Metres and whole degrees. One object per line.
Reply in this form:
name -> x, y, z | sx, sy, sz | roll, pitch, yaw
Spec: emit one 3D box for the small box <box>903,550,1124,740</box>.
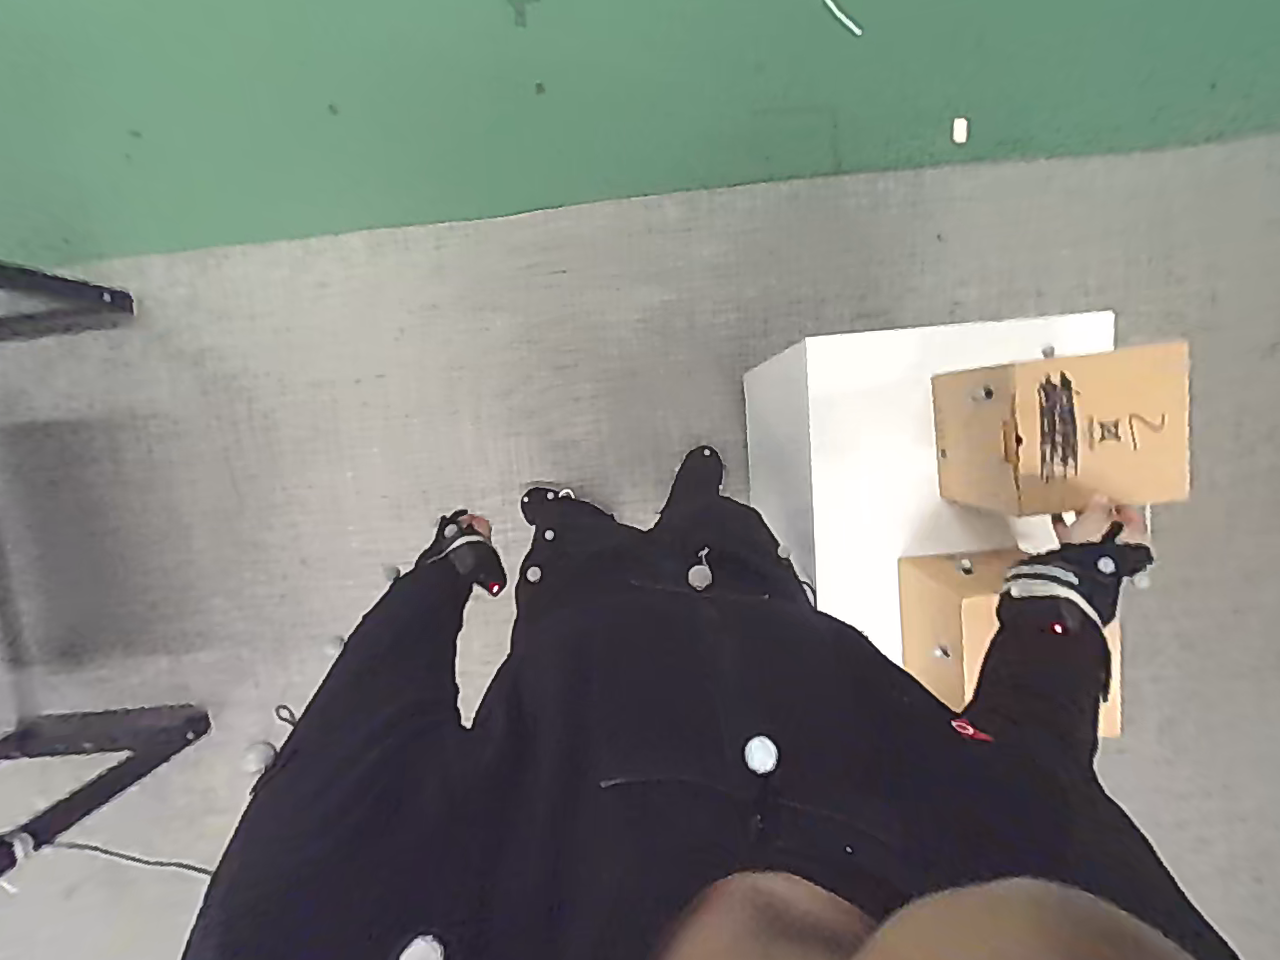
small box -> 0.442, 0.188, 0.666 | 0.168, 0.176, 0.179 | -5, 96, 4
